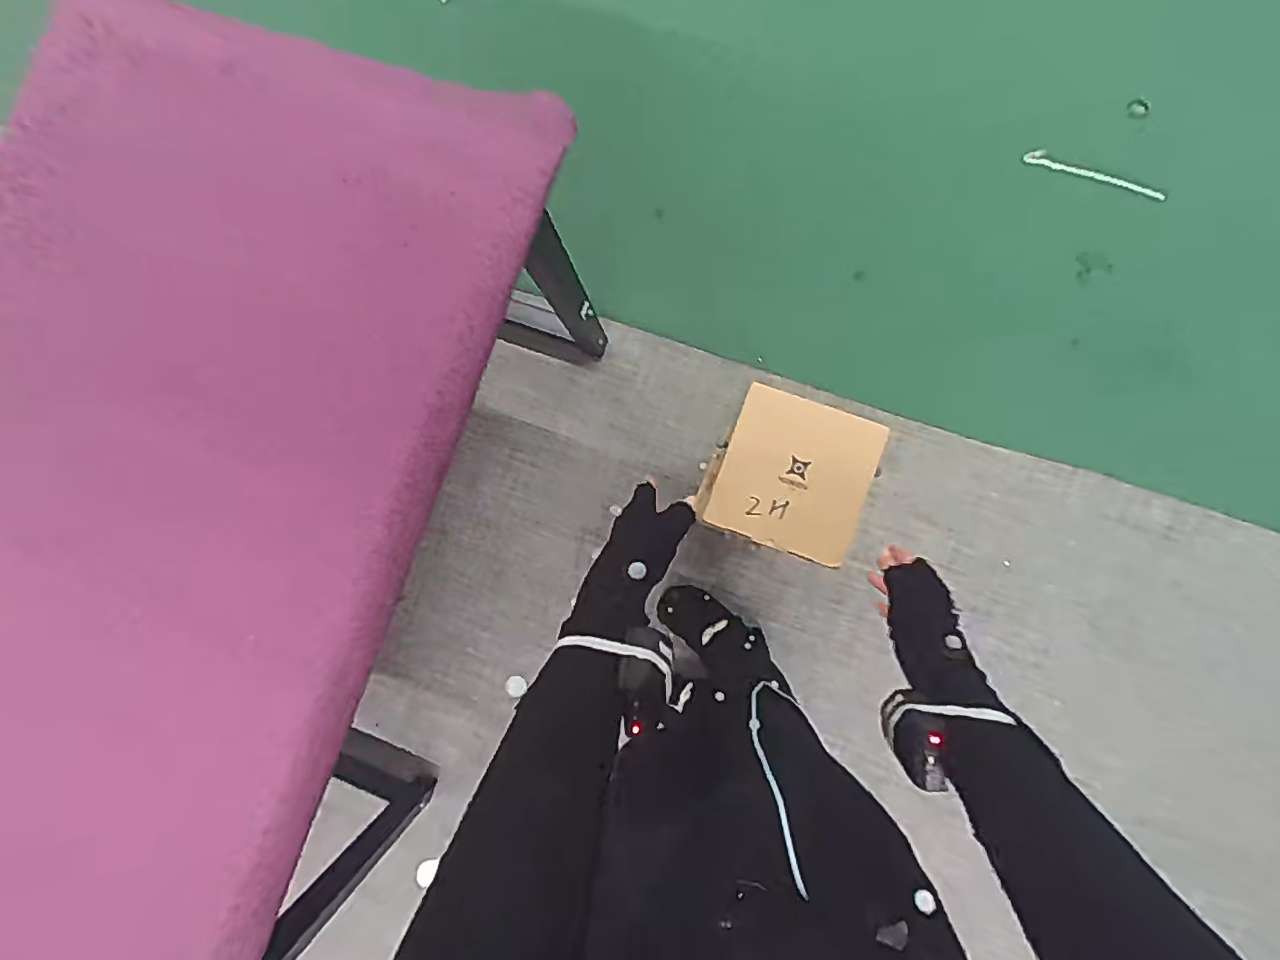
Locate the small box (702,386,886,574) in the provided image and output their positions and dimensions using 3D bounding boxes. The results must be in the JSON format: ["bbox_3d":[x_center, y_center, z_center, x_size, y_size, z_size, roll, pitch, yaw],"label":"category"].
[{"bbox_3d":[0.182,0.002,0.701,0.168,0.176,0.179,21,90,6],"label":"small box"}]

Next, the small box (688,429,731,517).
[{"bbox_3d":[0.202,0.019,1.027,0.179,0.176,0.168,25,89,6],"label":"small box"}]
